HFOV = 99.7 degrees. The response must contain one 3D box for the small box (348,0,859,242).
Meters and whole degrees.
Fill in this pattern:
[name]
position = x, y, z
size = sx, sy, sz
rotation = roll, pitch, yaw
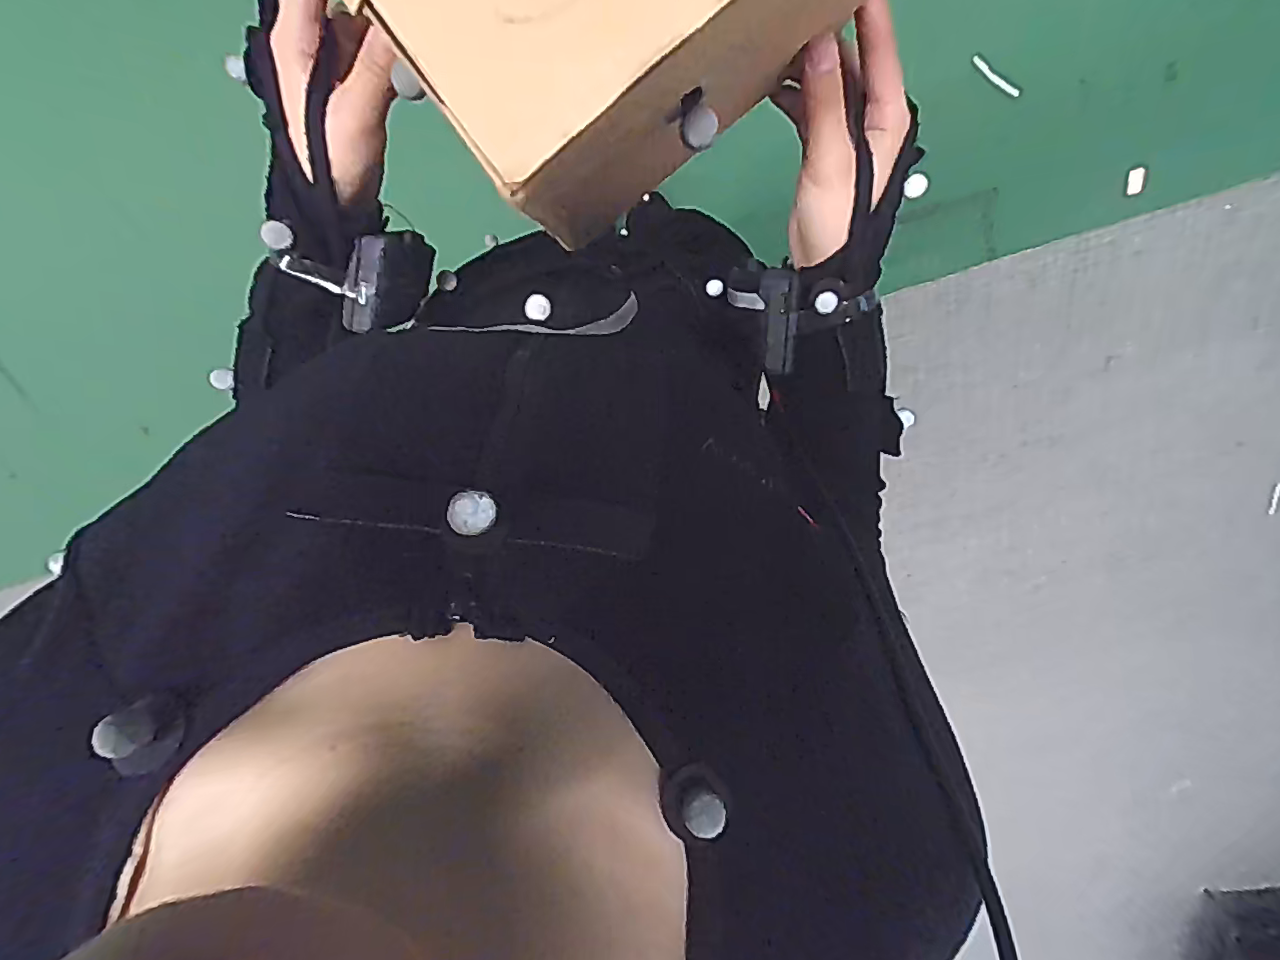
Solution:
[small box]
position = -0.015, -0.214, 0.200
size = 0.179, 0.176, 0.168
rotation = -34, 104, 11
